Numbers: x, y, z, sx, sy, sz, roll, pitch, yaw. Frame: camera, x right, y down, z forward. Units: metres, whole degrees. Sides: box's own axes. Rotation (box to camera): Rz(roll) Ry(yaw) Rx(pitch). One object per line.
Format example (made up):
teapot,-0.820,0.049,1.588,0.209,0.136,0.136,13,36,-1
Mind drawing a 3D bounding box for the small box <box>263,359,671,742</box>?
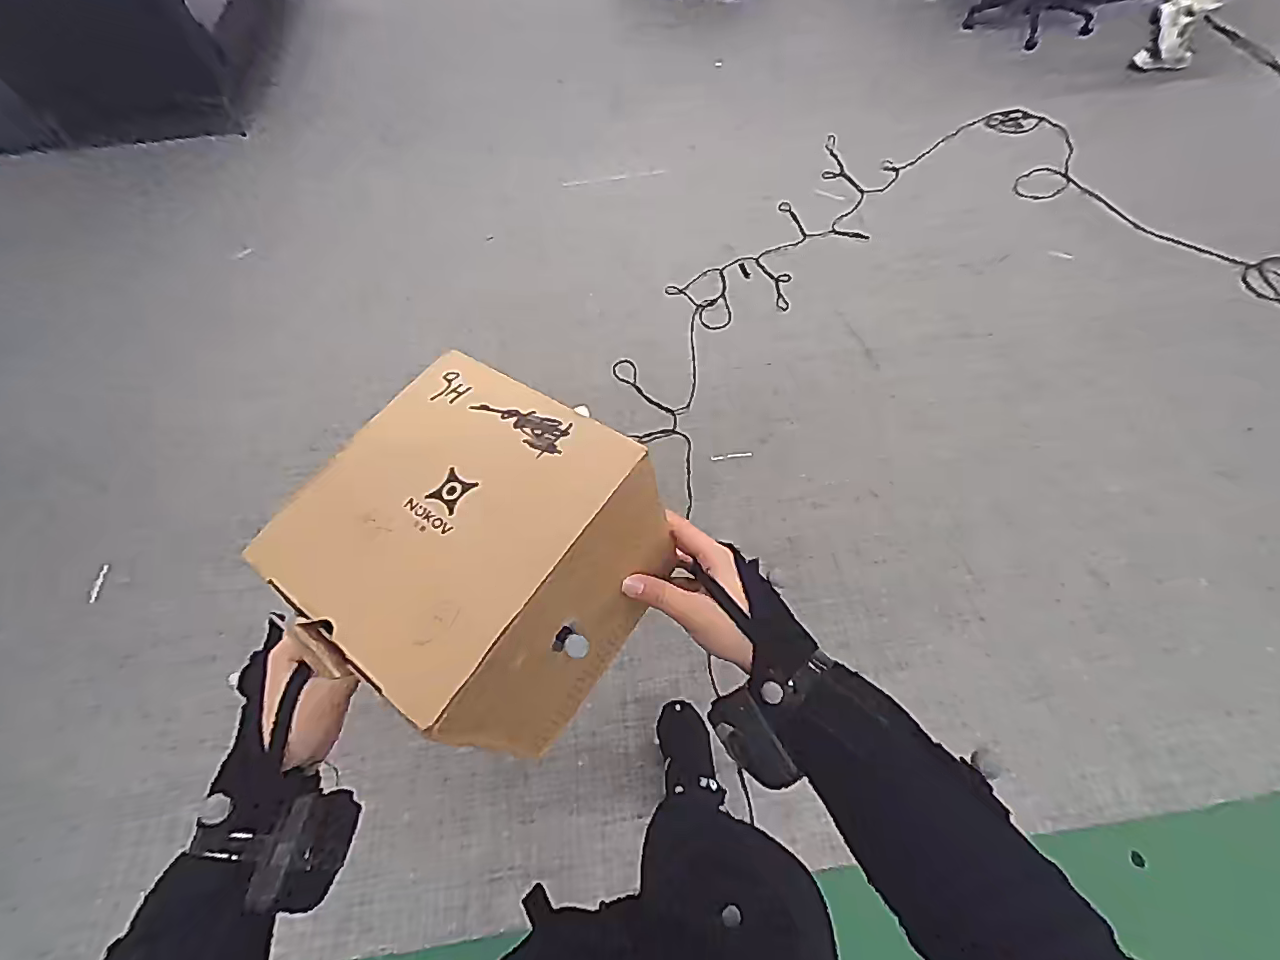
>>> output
small box,-0.093,0.056,0.374,0.168,0.176,0.179,28,69,24
